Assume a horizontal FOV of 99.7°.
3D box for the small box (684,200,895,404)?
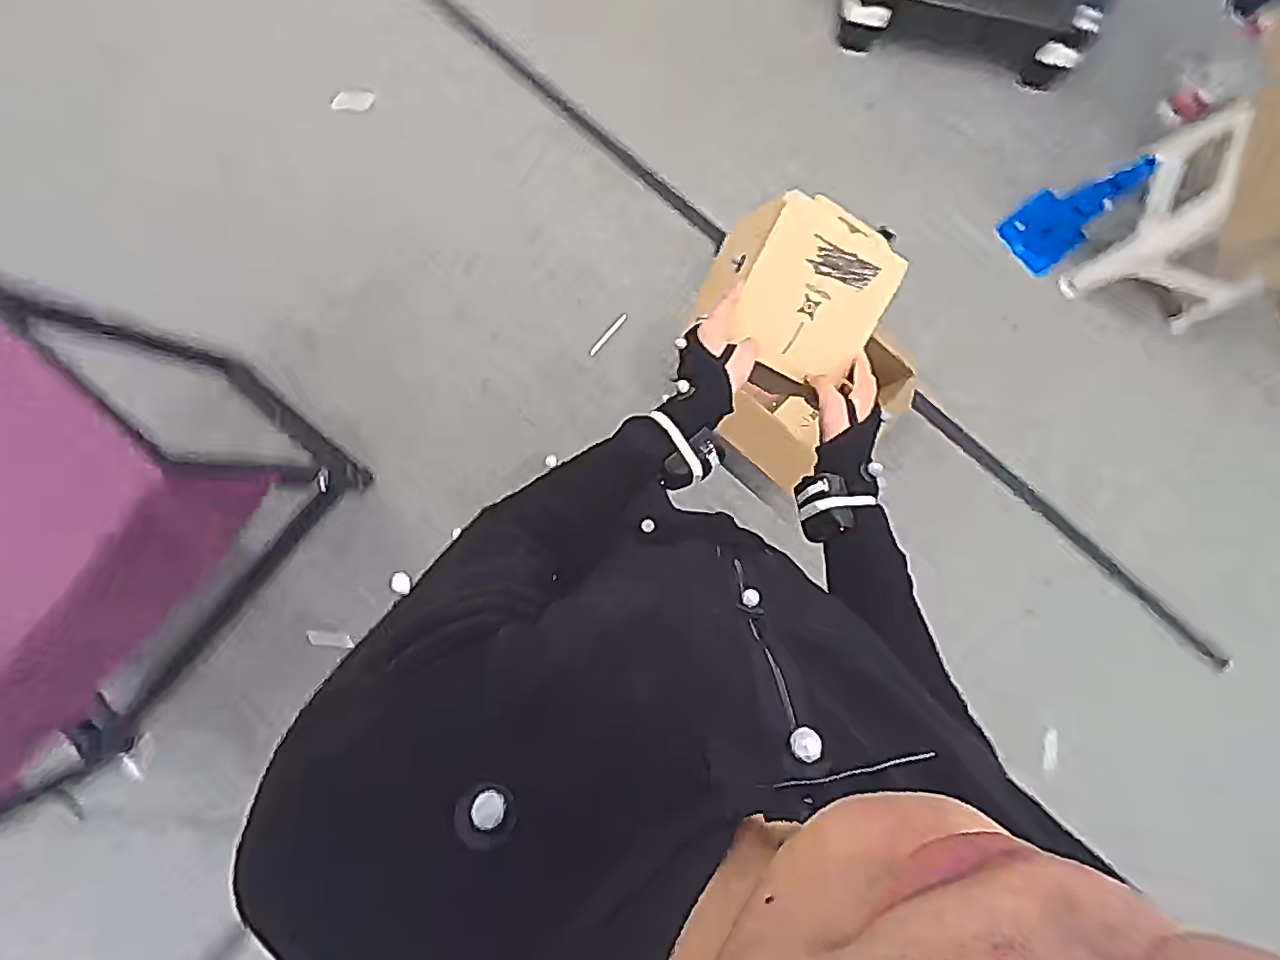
[{"bbox_3d":[0.175,-0.213,0.691,0.168,0.176,0.179,23,96,-15],"label":"small box"}]
